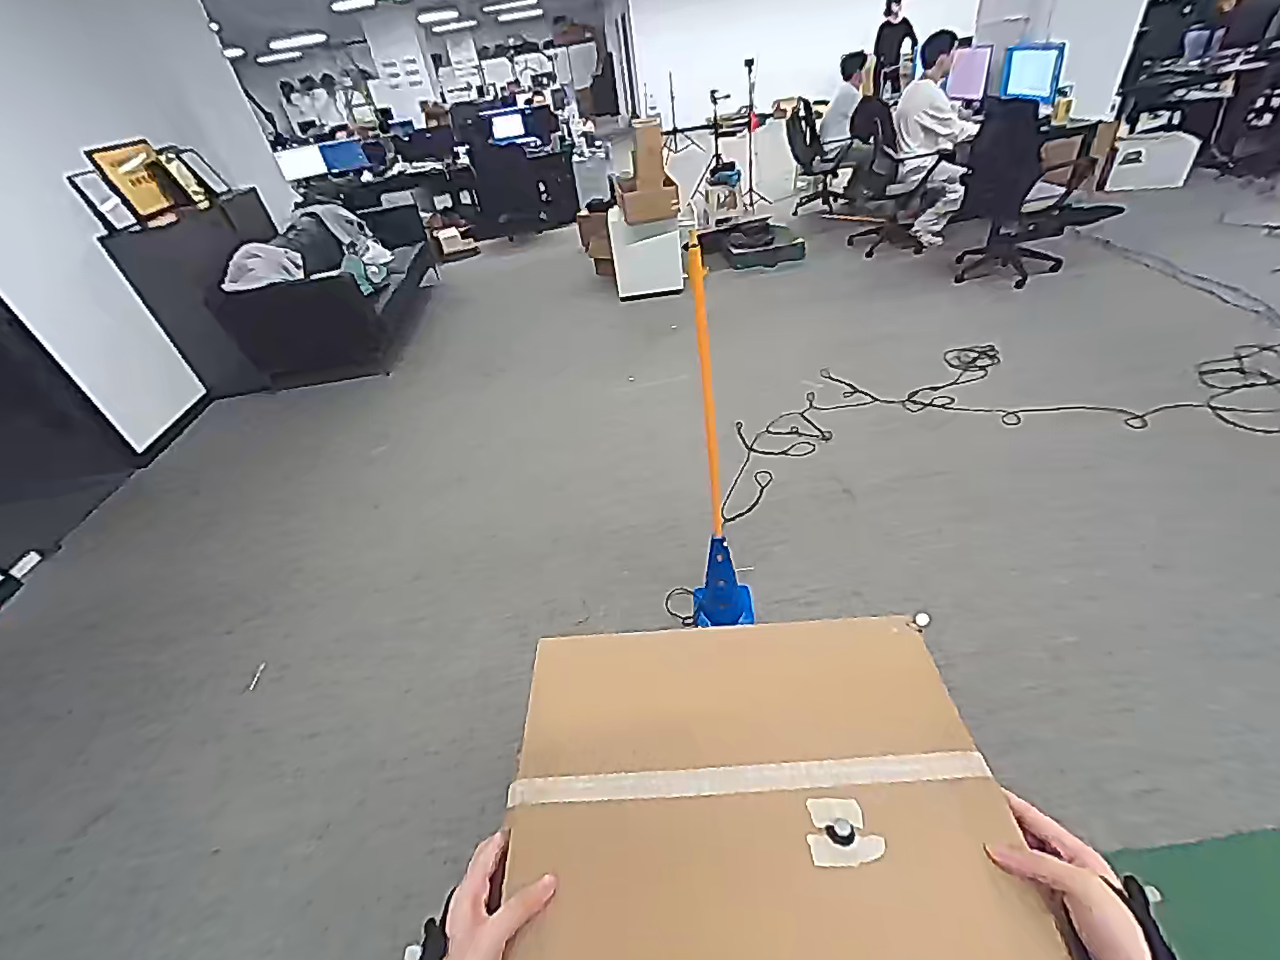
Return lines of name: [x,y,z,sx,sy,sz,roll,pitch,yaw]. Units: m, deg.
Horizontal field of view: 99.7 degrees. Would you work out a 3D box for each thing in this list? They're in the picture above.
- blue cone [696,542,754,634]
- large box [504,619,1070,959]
blue cone: [0.266,0.338,1.759,0.193,0.380,0.192,-4,38,7]
large box: [0.102,0.378,0.569,0.408,0.320,0.320,-4,40,1]
